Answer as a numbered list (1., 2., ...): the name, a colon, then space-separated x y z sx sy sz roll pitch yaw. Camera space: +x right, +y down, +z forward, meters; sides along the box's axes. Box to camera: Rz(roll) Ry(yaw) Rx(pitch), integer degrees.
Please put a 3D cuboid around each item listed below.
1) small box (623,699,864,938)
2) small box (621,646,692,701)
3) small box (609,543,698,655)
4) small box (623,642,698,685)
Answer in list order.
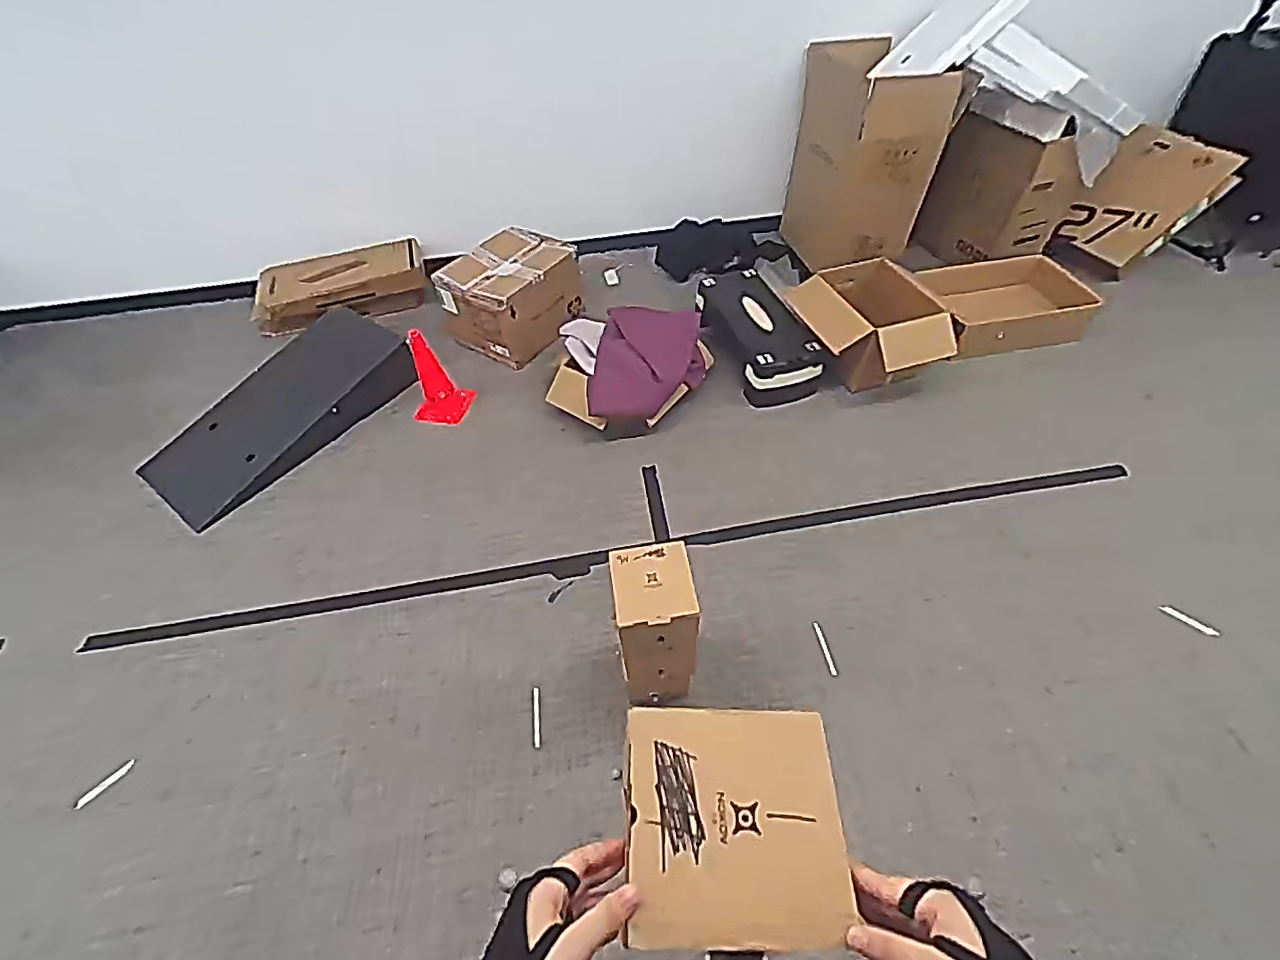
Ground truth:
1. small box: 0.074 0.312 0.499 0.179 0.176 0.168 2 53 -3
2. small box: 0.037 0.463 1.419 0.168 0.176 0.179 -9 52 -3
3. small box: 0.030 0.261 1.159 0.168 0.176 0.179 -8 51 -2
4. small box: 0.038 0.363 1.286 0.168 0.176 0.179 -9 51 -2
